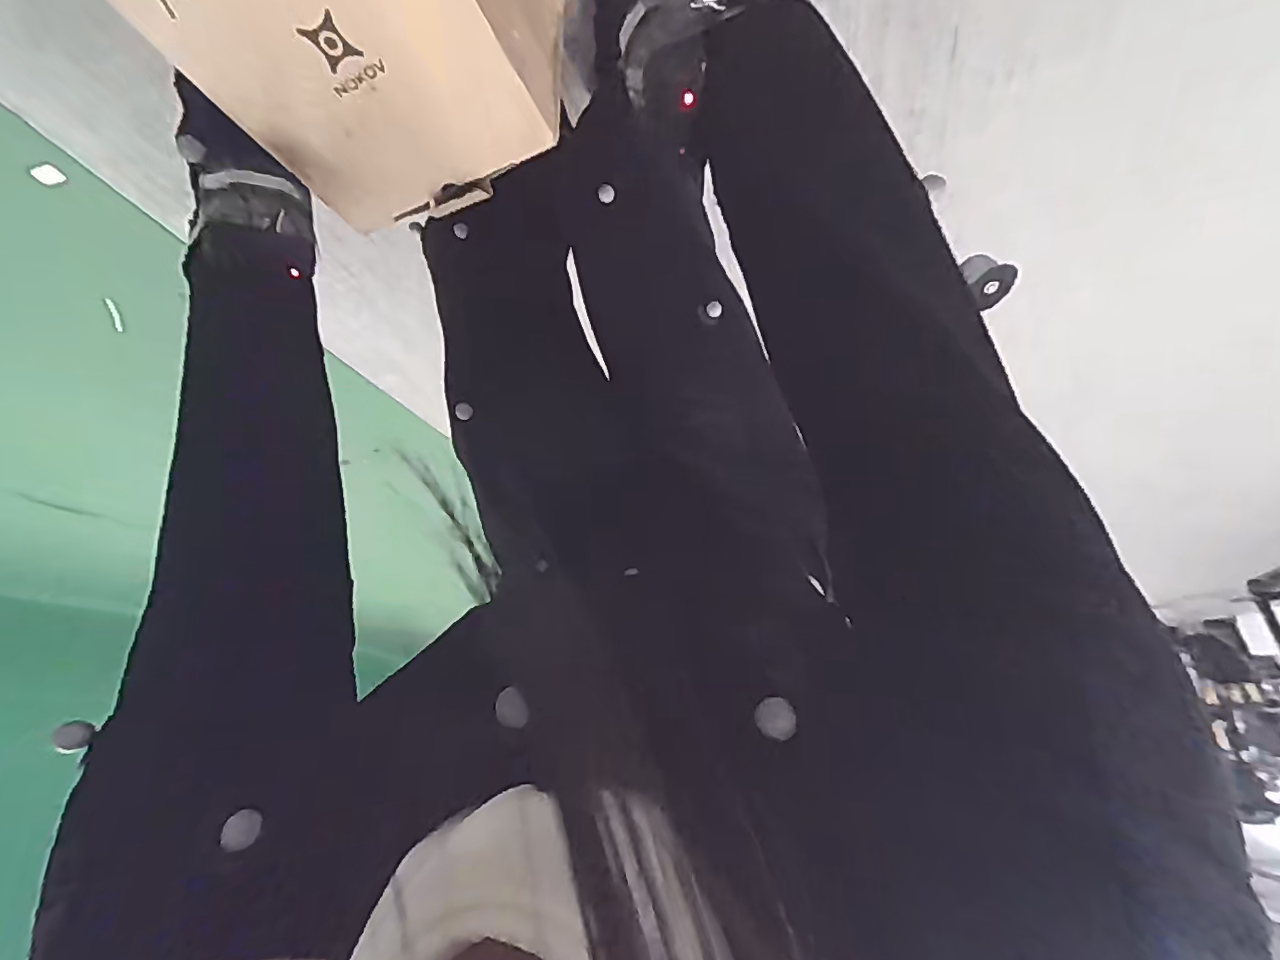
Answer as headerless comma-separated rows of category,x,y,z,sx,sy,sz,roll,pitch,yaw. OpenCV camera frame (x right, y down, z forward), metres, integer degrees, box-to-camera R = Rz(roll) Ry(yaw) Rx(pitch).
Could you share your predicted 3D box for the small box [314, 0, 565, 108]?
small box,-0.164,-0.438,0.396,0.168,0.176,0.179,-13,153,24
